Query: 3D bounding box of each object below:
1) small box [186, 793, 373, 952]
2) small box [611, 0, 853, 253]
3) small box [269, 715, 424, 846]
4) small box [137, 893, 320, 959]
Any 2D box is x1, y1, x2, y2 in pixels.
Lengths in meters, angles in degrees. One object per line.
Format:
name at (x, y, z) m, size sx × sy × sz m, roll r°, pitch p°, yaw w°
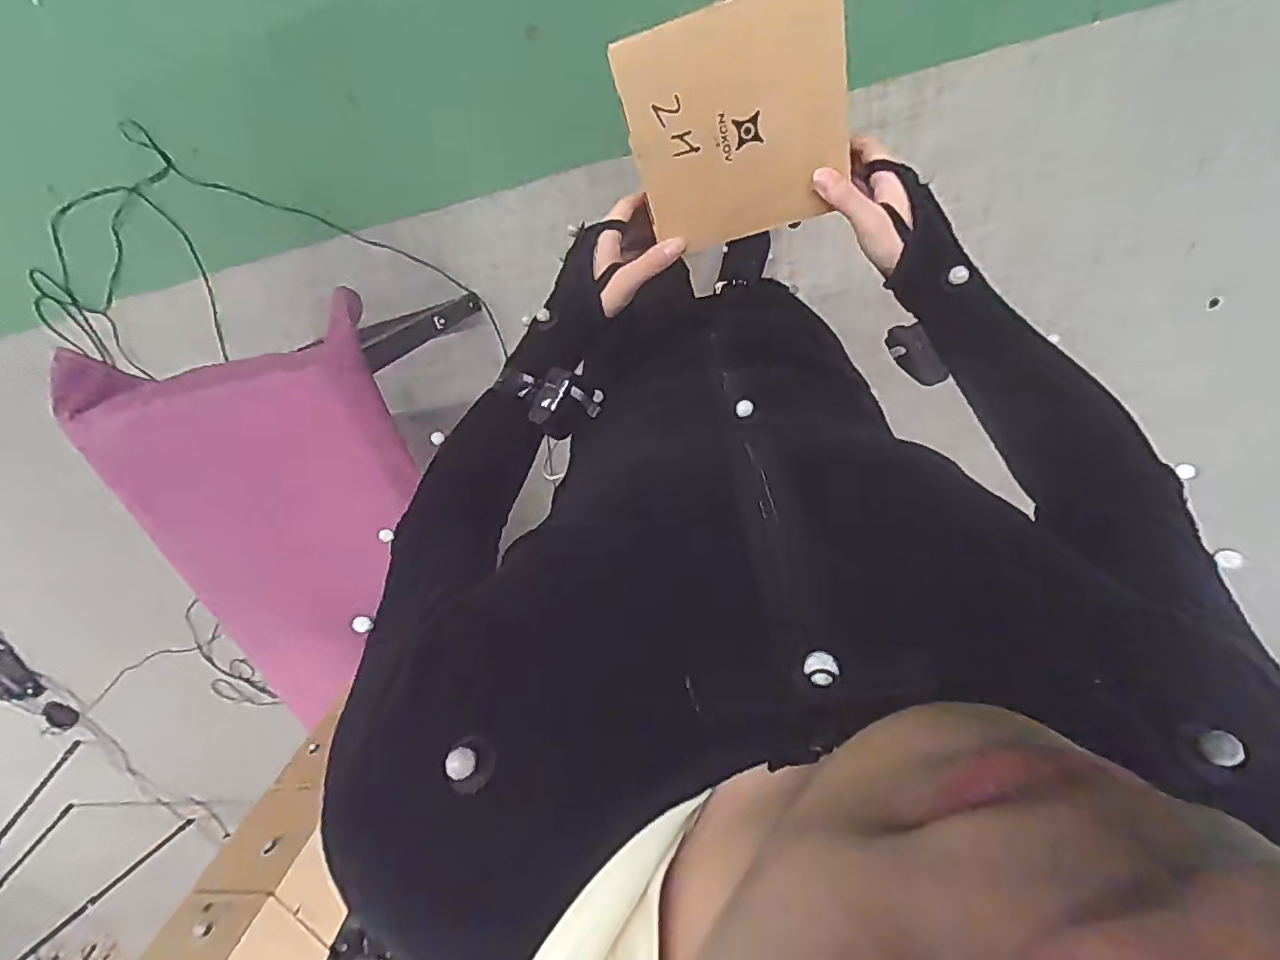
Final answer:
small box at (-0.590, 0.659, 0.919) m, size 0.179 × 0.176 × 0.168 m, roll -11°, pitch 115°, yaw 14°
small box at (0.086, -0.340, 0.502) m, size 0.179 × 0.176 × 0.168 m, roll -10°, pitch 128°, yaw 15°
small box at (-0.561, 0.582, 1.059) m, size 0.168 × 0.176 × 0.179 m, roll -9°, pitch 116°, yaw 14°
small box at (-0.609, 0.733, 0.773) m, size 0.168 × 0.176 × 0.179 m, roll -10°, pitch 115°, yaw 14°
